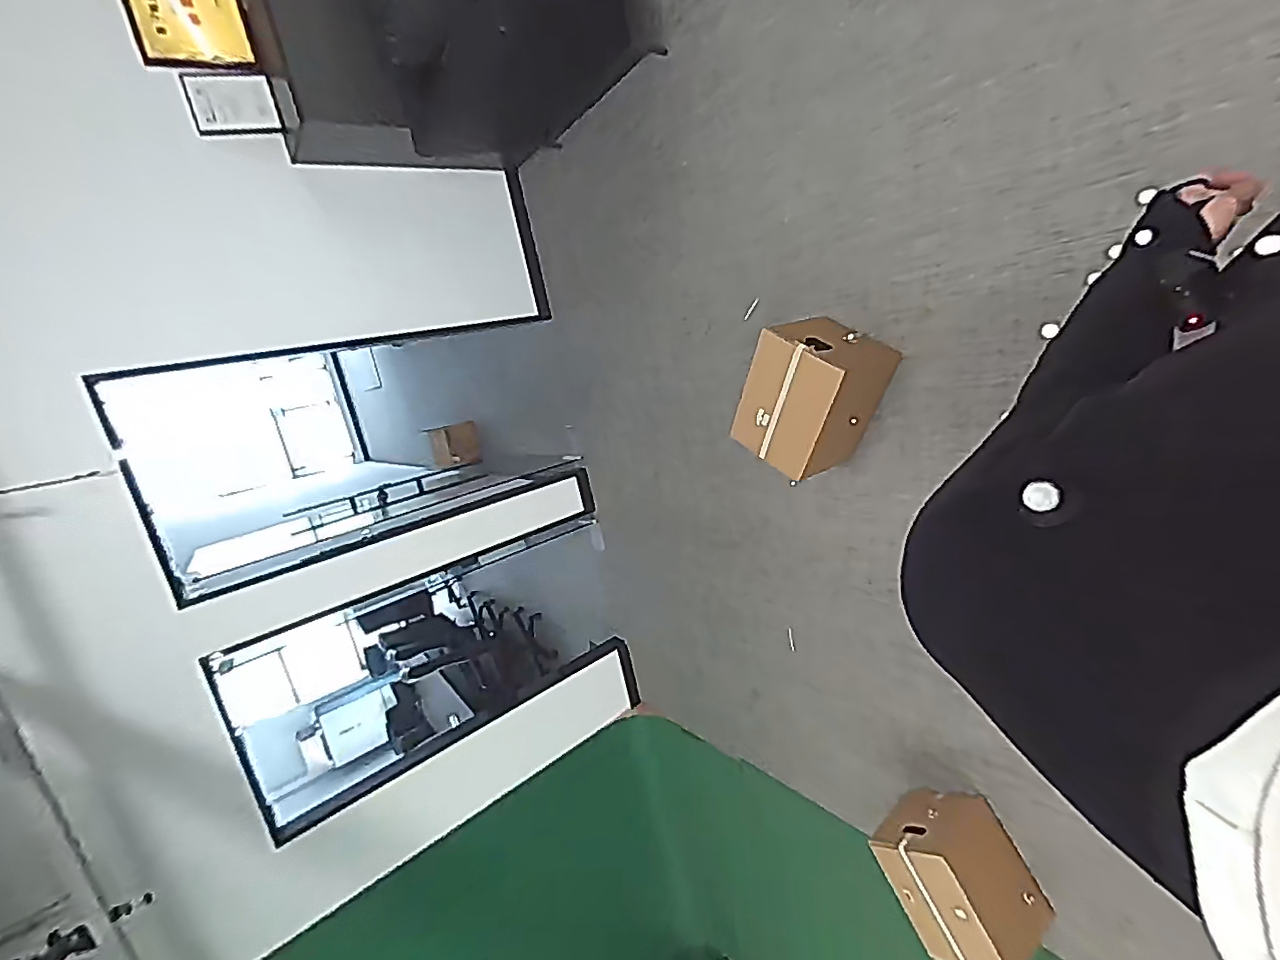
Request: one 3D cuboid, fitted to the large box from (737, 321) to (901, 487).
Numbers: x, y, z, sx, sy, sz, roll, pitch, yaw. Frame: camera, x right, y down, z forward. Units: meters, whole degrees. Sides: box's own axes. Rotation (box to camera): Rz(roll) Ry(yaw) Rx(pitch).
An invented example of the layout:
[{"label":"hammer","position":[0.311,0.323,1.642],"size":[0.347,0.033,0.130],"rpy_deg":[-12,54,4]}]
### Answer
[{"label":"large box","position":[0.570,-0.260,1.766],"size":[0.320,0.320,0.408],"rpy_deg":[43,138,35]}]
